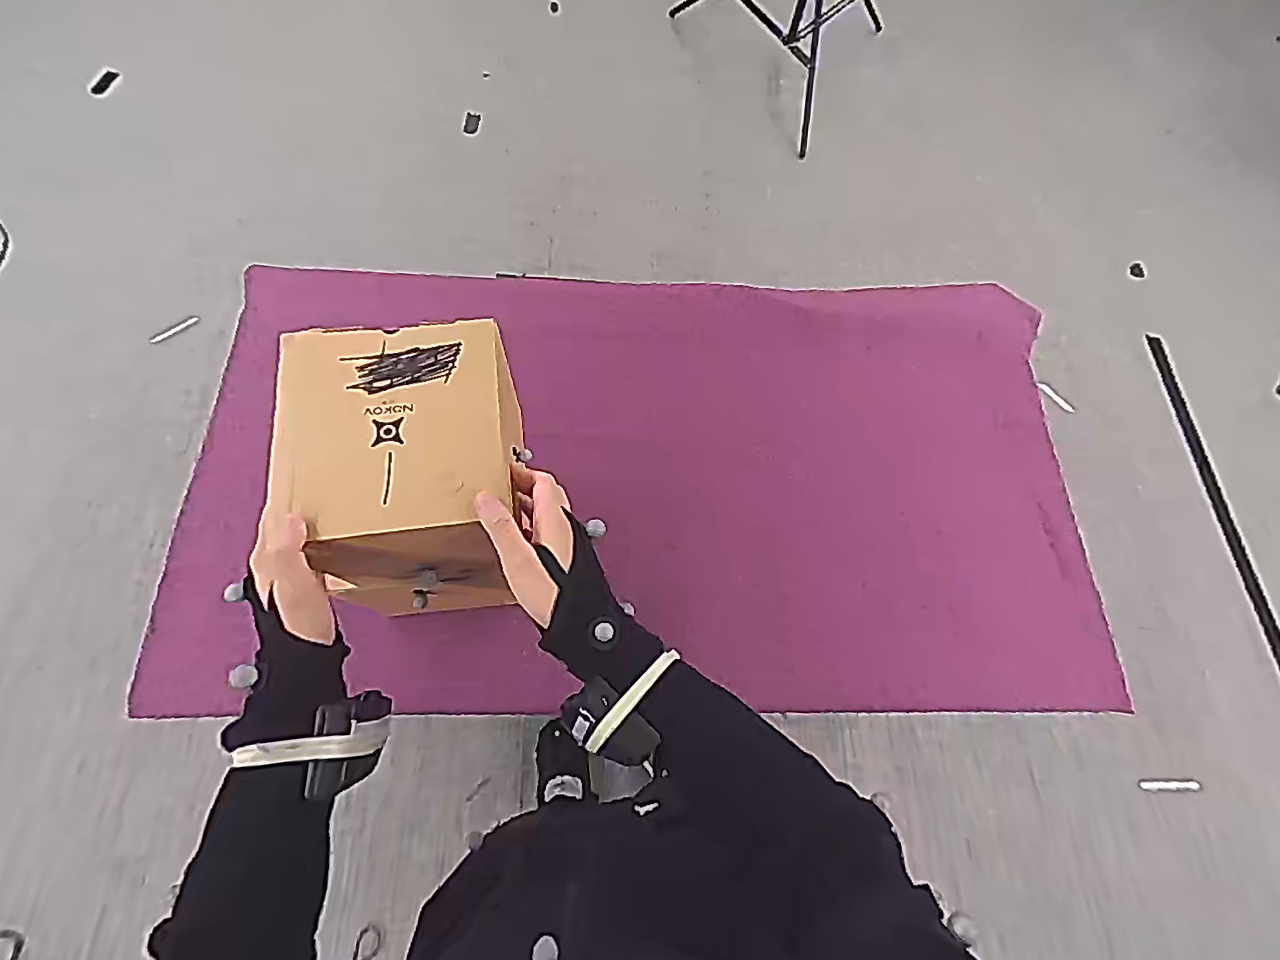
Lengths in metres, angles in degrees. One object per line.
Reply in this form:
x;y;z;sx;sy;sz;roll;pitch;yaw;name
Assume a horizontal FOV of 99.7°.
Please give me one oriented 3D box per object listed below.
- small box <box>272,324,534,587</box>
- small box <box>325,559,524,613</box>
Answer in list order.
-0.190;-0.013;0.483;0.168;0.176;0.179;-7;70;-7;small box
-0.232;0.056;0.631;0.179;0.176;0.168;-5;70;-5;small box
